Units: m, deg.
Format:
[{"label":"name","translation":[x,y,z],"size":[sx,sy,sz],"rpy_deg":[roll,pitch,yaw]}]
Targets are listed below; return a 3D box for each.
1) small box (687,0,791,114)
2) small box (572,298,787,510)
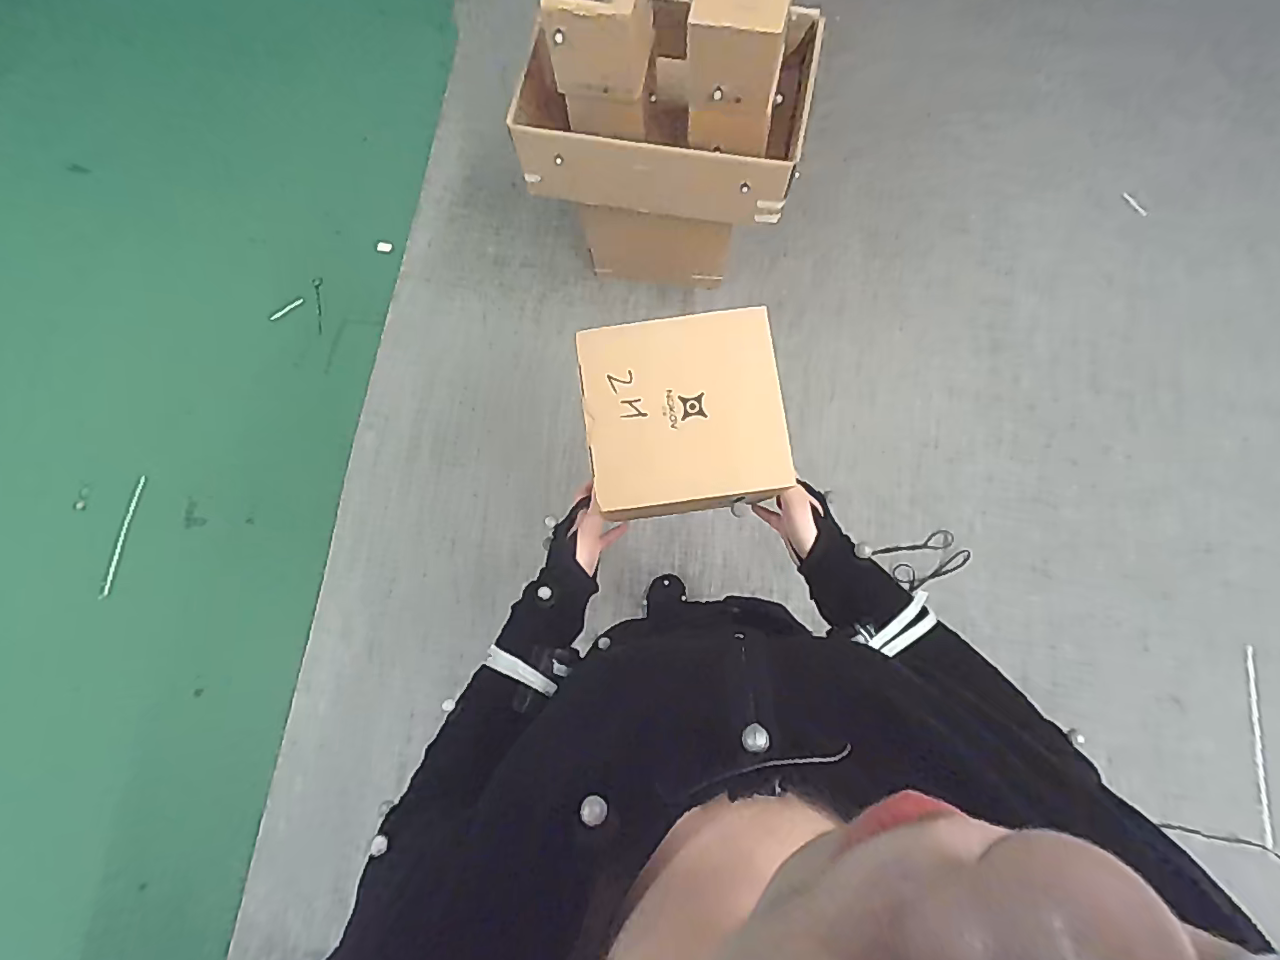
[{"label":"small box","translation":[0.184,-0.836,1.010],"size":[0.168,0.176,0.179],"rpy_deg":[13,81,7]},{"label":"small box","translation":[0.035,-0.063,0.552],"size":[0.179,0.176,0.168],"rpy_deg":[-7,82,2]}]
